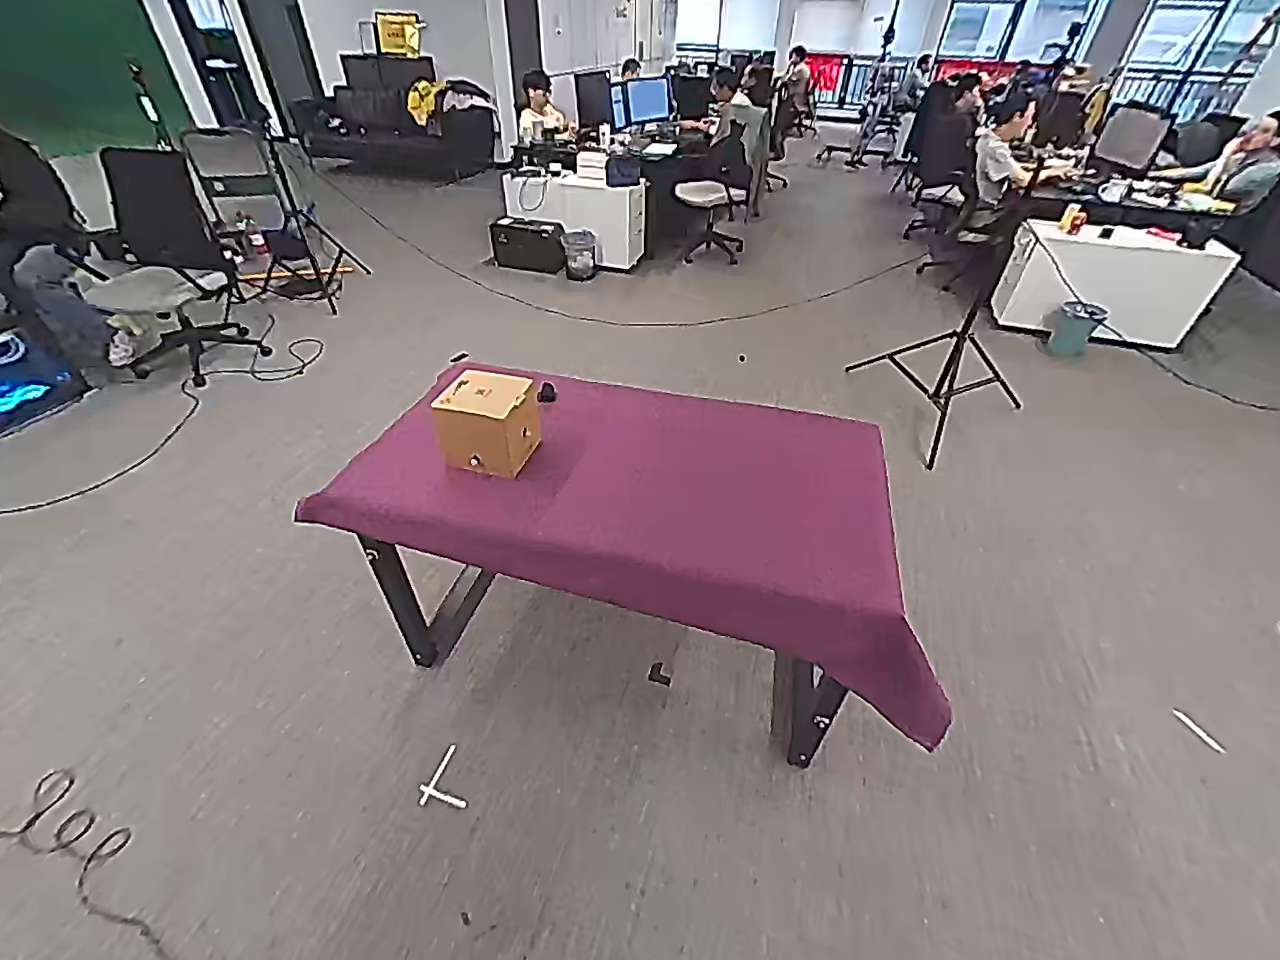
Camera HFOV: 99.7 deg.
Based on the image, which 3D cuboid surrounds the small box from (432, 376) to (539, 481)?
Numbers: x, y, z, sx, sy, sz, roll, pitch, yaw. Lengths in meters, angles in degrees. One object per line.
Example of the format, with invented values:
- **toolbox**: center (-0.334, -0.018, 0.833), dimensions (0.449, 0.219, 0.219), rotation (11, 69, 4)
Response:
- **small box**: center (-0.347, -0.117, 1.252), dimensions (0.179, 0.176, 0.168), rotation (11, 41, 10)
